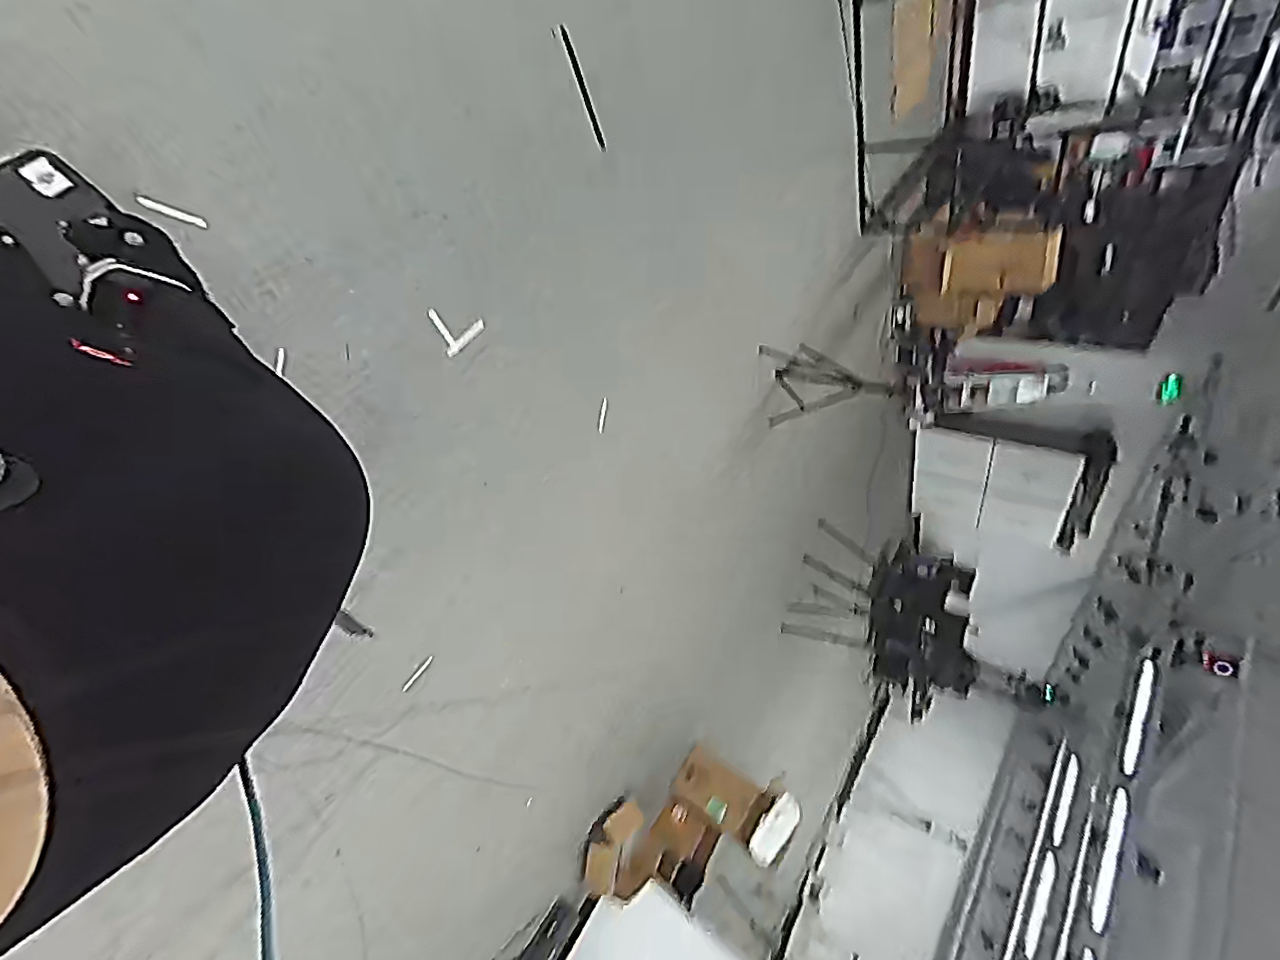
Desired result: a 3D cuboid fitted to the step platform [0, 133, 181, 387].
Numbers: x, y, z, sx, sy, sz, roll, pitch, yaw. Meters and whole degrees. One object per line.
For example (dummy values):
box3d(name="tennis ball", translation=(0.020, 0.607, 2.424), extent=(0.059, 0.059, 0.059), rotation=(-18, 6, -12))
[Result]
box3d(name="step platform", translation=(-1.239, -0.329, 0.968), extent=(0.684, 0.204, 0.286), rotation=(-53, 140, -25))
